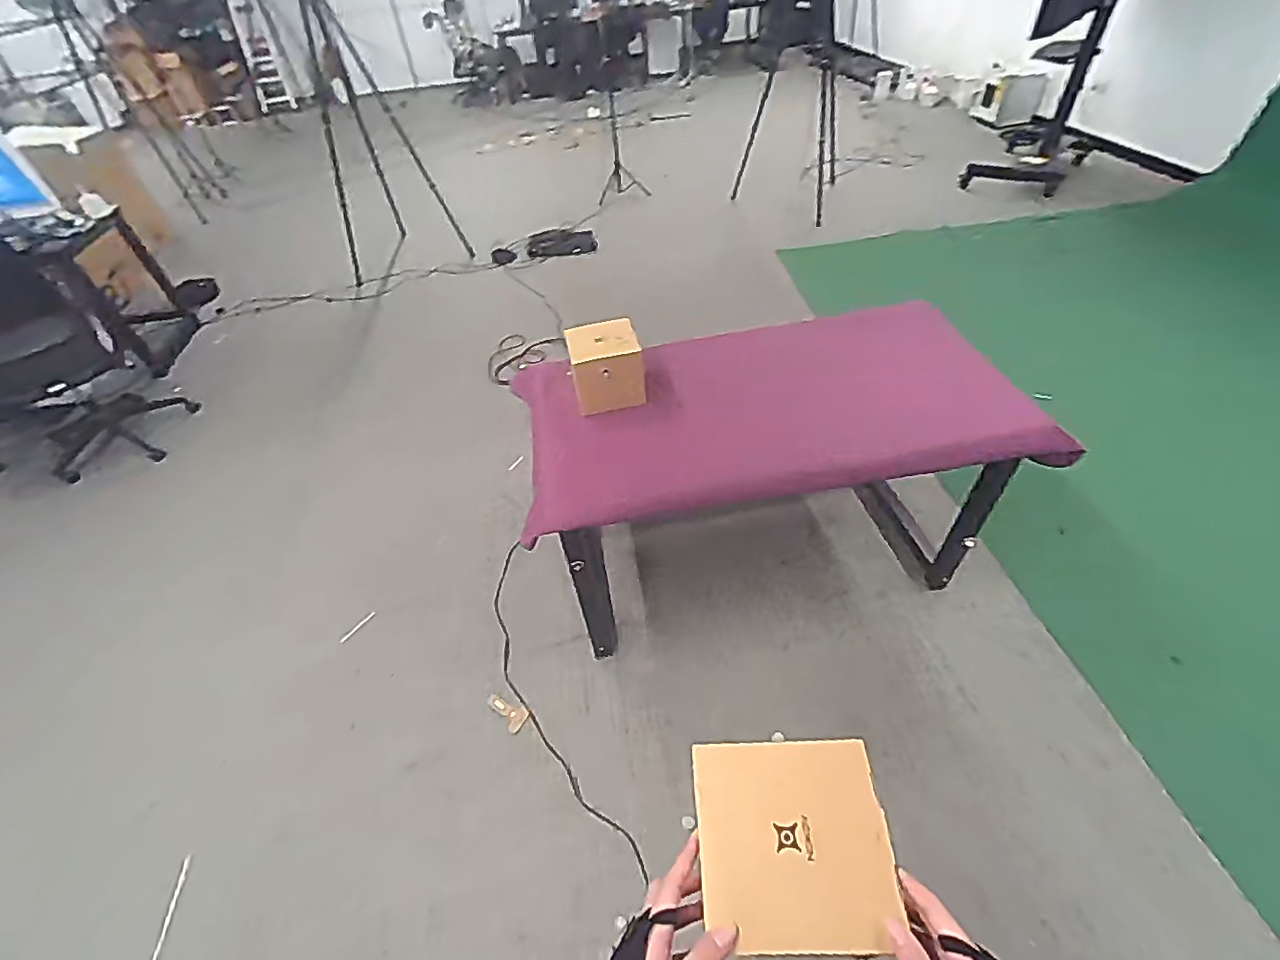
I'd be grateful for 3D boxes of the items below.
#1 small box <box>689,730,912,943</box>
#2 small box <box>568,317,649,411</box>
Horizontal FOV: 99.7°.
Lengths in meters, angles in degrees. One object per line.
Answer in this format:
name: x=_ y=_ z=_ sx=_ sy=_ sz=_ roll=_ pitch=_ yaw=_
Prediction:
small box: x=0.145 y=0.370 z=0.559 sx=0.179 sy=0.176 sz=0.168 roll=-3 pitch=51 yaw=2
small box: x=-0.080 y=-0.301 z=1.419 sx=0.179 sy=0.176 sz=0.168 roll=-12 pitch=47 yaw=-5
